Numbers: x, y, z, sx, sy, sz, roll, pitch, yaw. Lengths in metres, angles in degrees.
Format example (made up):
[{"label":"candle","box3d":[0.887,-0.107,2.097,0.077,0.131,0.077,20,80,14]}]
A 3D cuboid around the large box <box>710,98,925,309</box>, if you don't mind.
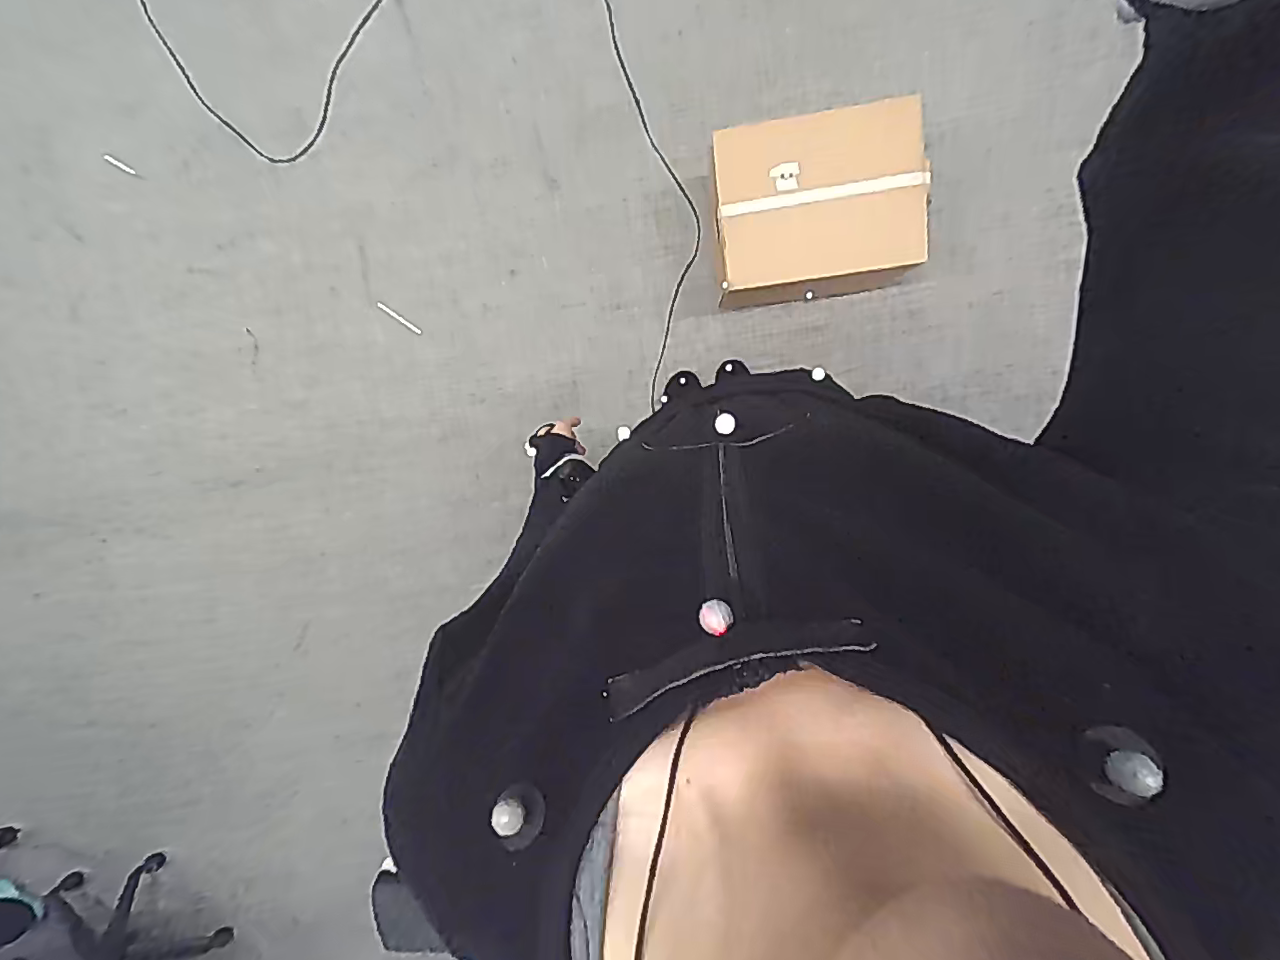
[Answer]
[{"label":"large box","box3d":[0.378,-0.593,1.237,0.408,0.320,0.320,-6,99,8]}]
